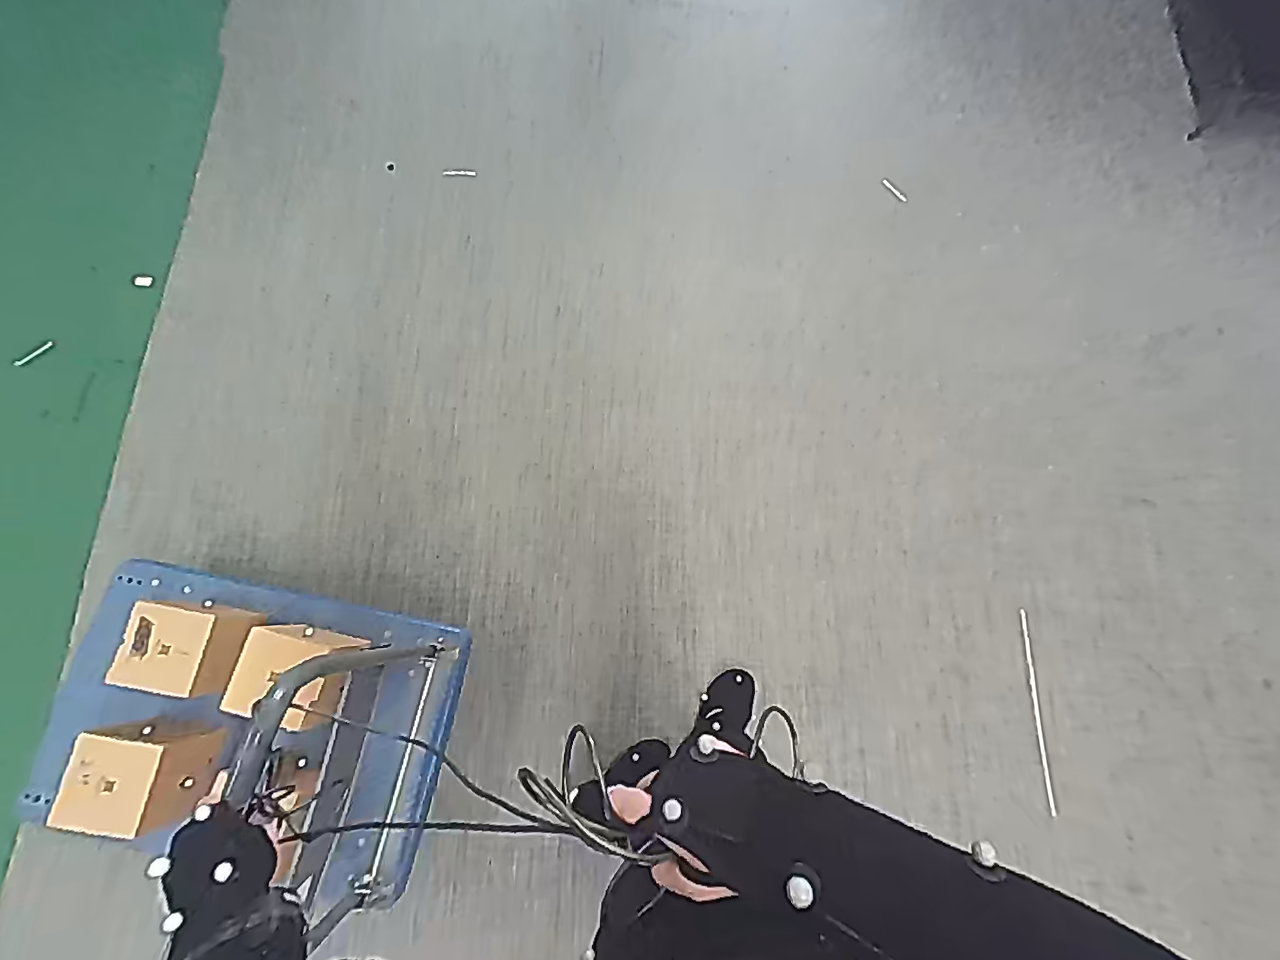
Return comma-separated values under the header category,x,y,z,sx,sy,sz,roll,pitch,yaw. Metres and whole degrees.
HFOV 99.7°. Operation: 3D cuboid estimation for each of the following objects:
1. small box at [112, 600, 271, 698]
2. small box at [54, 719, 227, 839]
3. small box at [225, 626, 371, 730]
category,x,y,z,sx,sy,sz,roll,pitch,yaw
small box,-0.960,0.361,1.175,0.179,0.176,0.168,10,77,2
small box,-1.013,0.605,1.116,0.179,0.176,0.168,8,76,3
small box,-0.721,0.416,1.161,0.179,0.176,0.168,13,77,3
